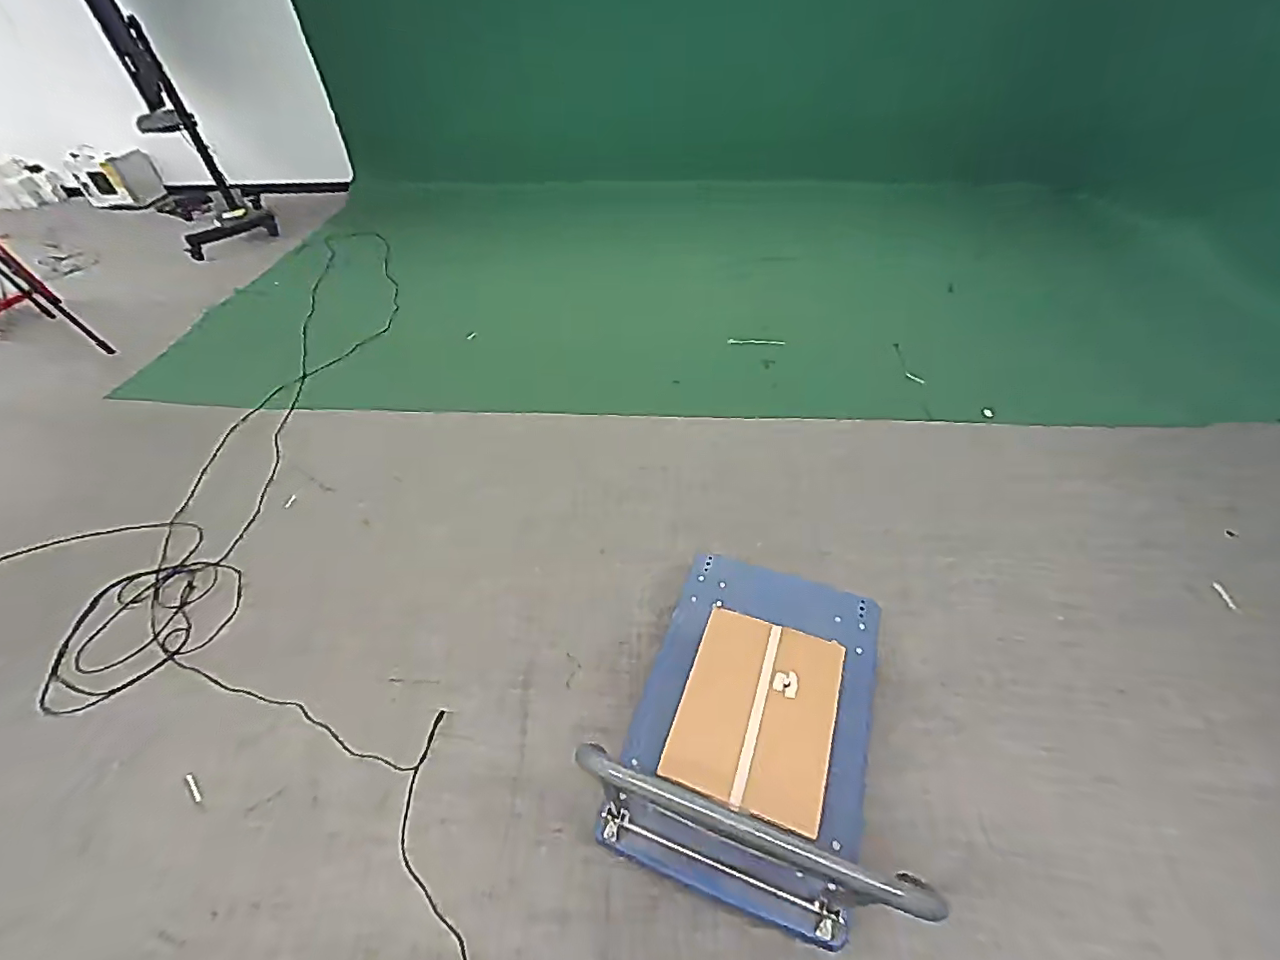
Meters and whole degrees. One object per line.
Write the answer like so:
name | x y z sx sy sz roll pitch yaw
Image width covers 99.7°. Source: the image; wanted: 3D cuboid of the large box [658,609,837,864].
large box | 0.250 0.589 1.266 0.320 0.320 0.408 15 47 16
